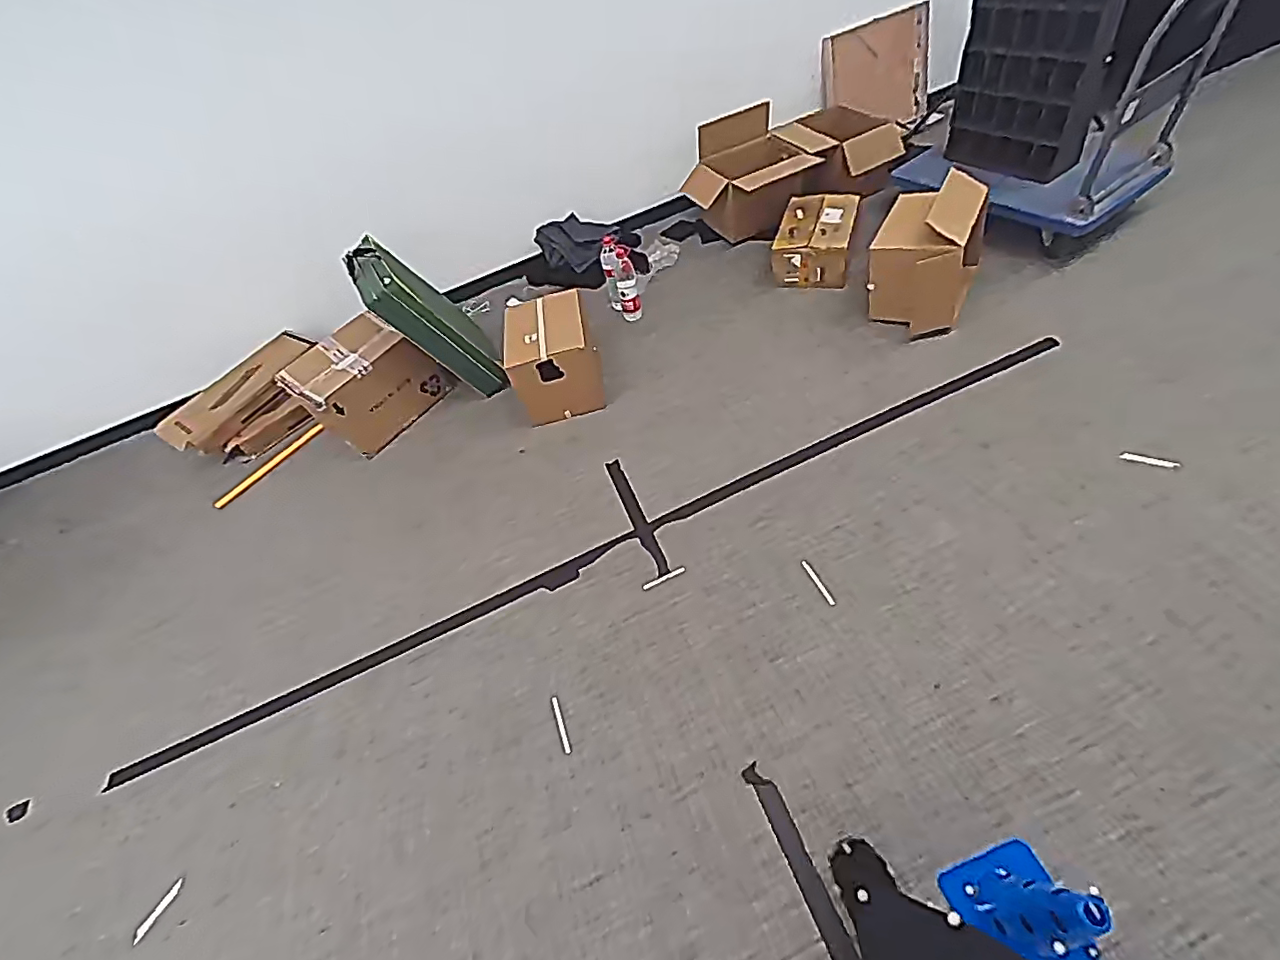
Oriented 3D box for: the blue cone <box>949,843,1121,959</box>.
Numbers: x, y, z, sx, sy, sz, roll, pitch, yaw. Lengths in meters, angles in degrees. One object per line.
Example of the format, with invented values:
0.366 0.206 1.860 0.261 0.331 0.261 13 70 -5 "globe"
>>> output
0.681 0.718 0.897 0.192 0.380 0.193 -20 49 -3 "blue cone"
